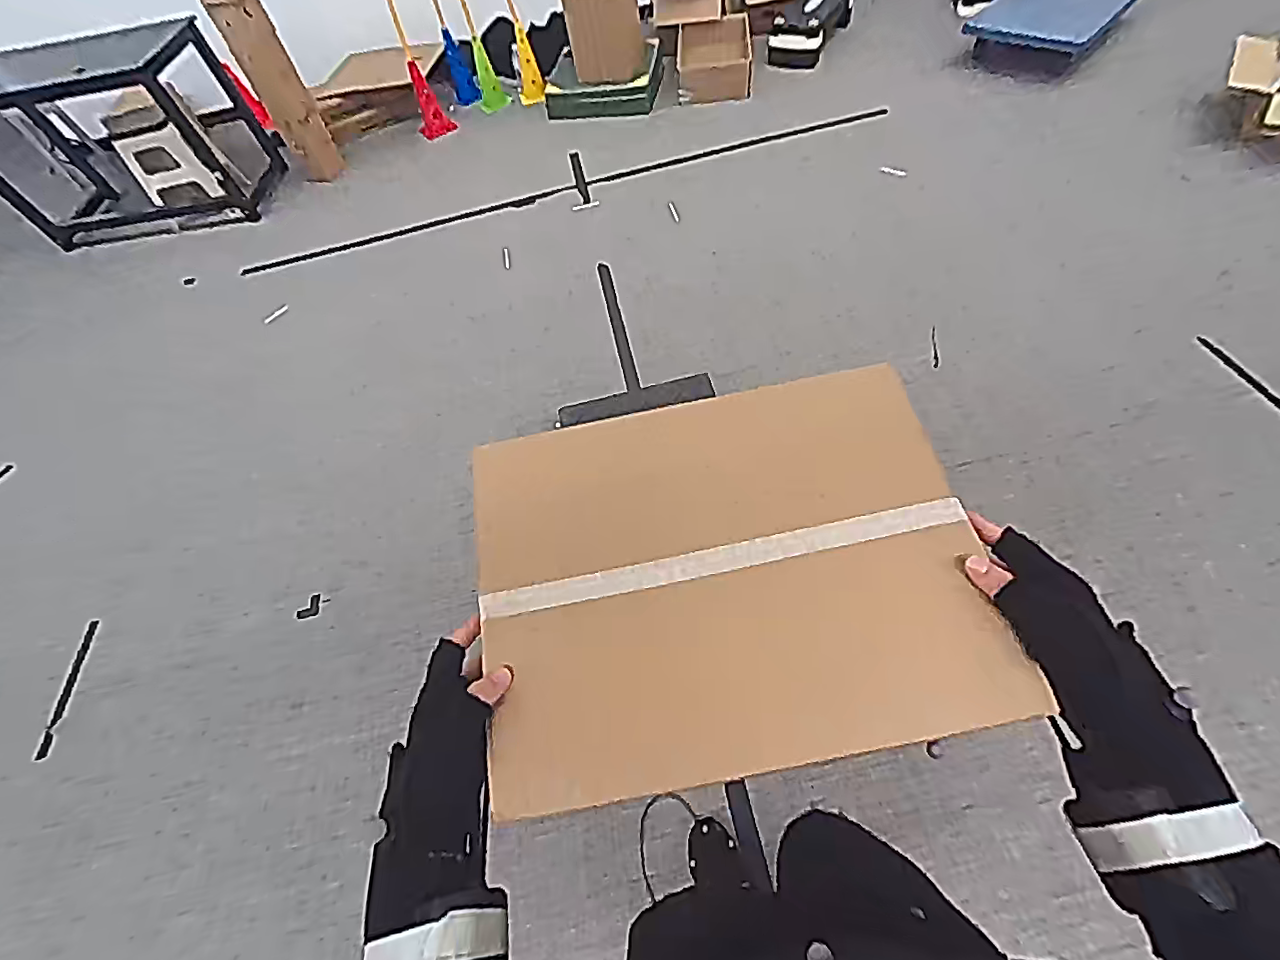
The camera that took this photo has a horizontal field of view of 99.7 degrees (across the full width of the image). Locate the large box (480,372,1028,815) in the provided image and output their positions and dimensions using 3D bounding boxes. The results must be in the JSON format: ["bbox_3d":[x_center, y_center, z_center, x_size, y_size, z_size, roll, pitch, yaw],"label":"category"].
[{"bbox_3d":[0.080,0.130,0.591,0.408,0.320,0.320,-11,64,0],"label":"large box"}]
